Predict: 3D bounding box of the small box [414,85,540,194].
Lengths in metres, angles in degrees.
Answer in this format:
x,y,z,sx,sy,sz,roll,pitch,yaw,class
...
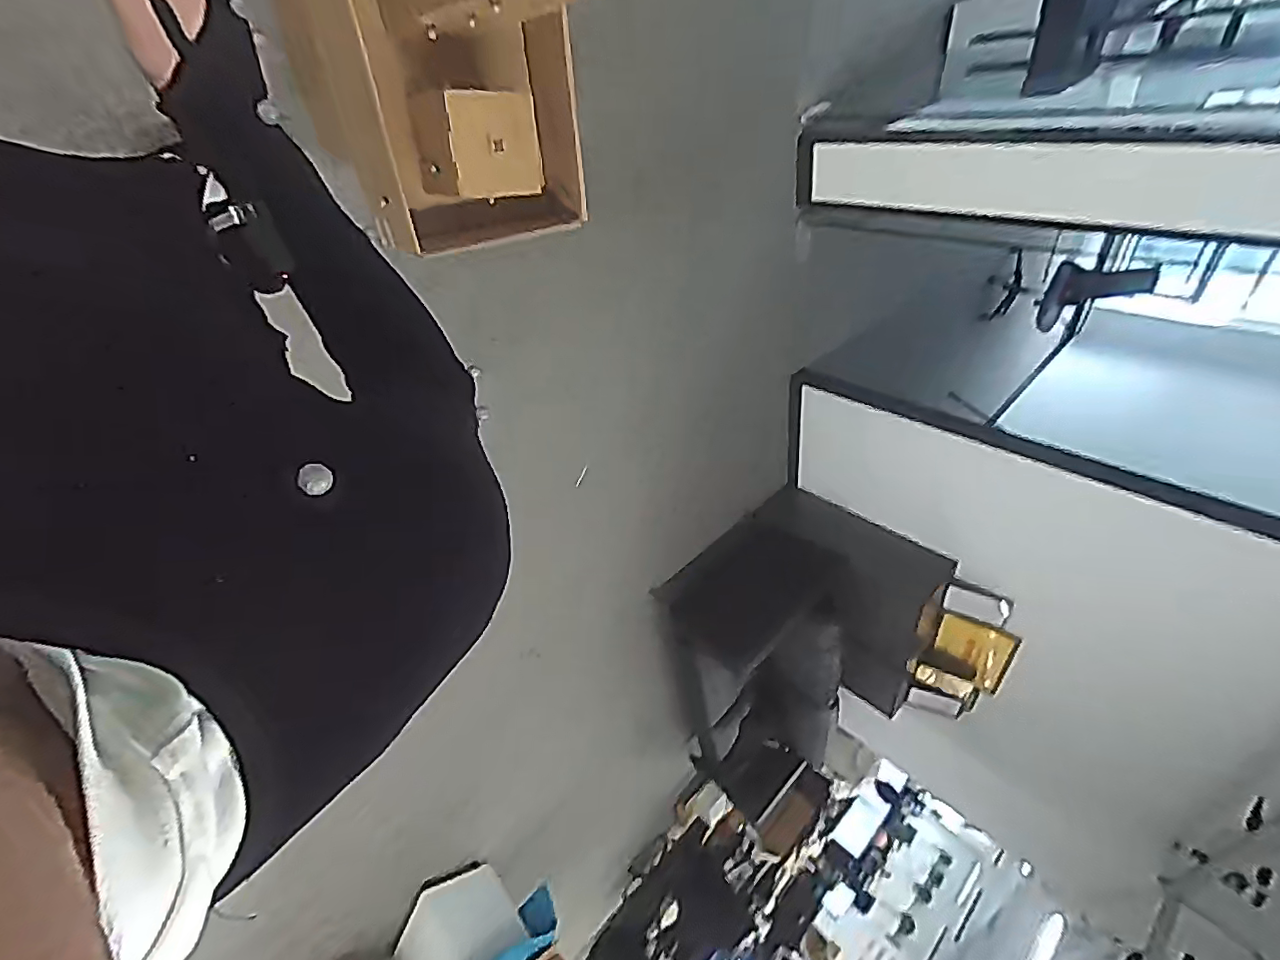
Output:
x,y,z,sx,sy,sz,roll,pitch,yaw,class
-0.315,-0.647,1.038,0.179,0.176,0.168,-24,130,-34,small box

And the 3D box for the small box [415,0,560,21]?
x,y,z,sx,sy,sz,roll,pitch,yaw,class
-0.237,-0.787,0.775,0.168,0.176,0.179,-27,133,-31,small box
